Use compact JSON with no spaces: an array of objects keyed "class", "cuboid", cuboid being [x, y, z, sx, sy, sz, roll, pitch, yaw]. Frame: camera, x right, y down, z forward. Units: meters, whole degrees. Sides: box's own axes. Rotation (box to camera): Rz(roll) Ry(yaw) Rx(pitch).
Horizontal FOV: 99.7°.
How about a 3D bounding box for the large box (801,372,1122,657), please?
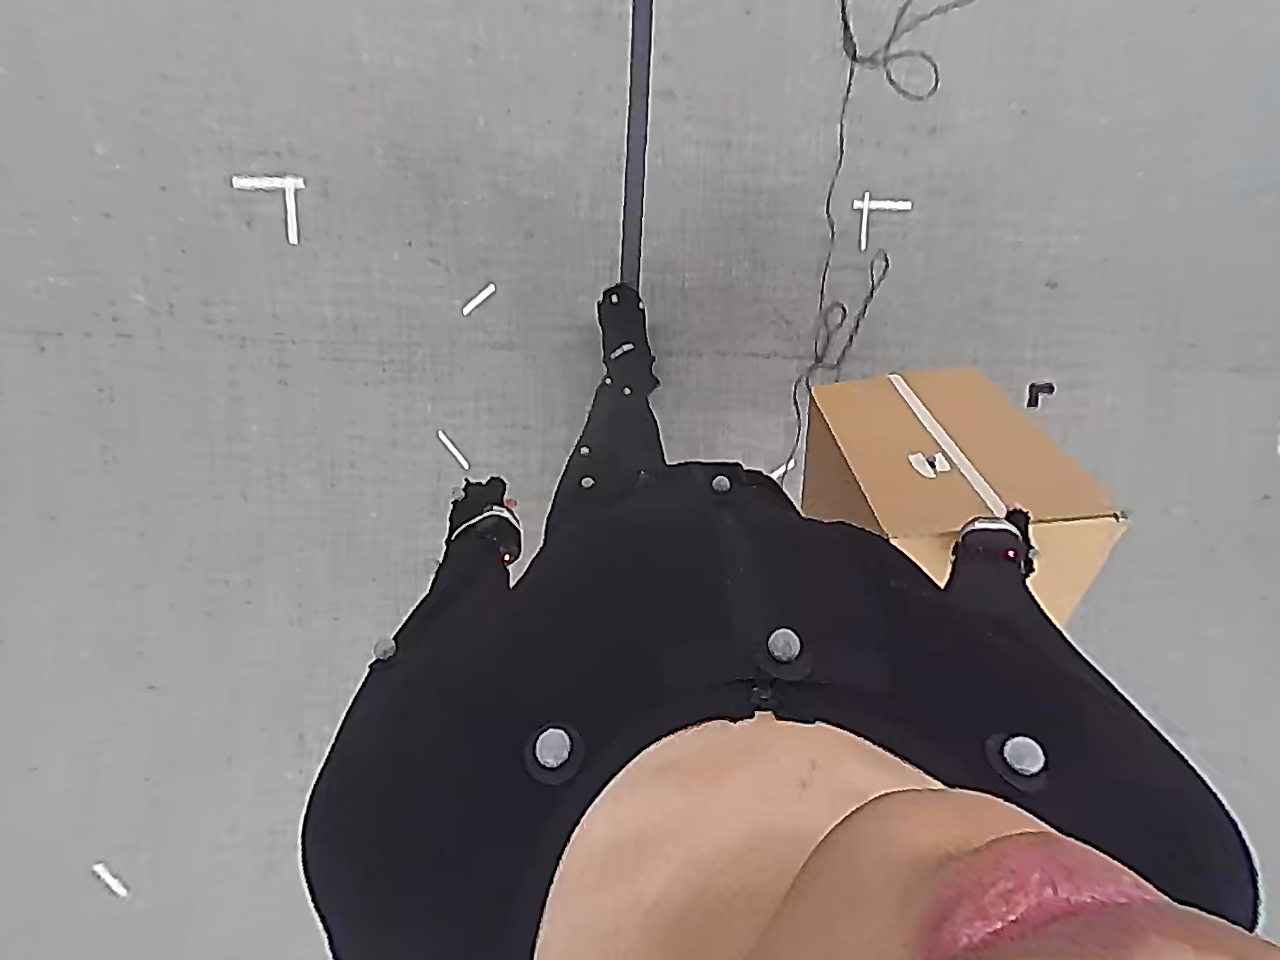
[{"class":"large box","cuboid":[0.504,0.051,0.976,0.320,0.408,0.320,-7,131,4]}]
